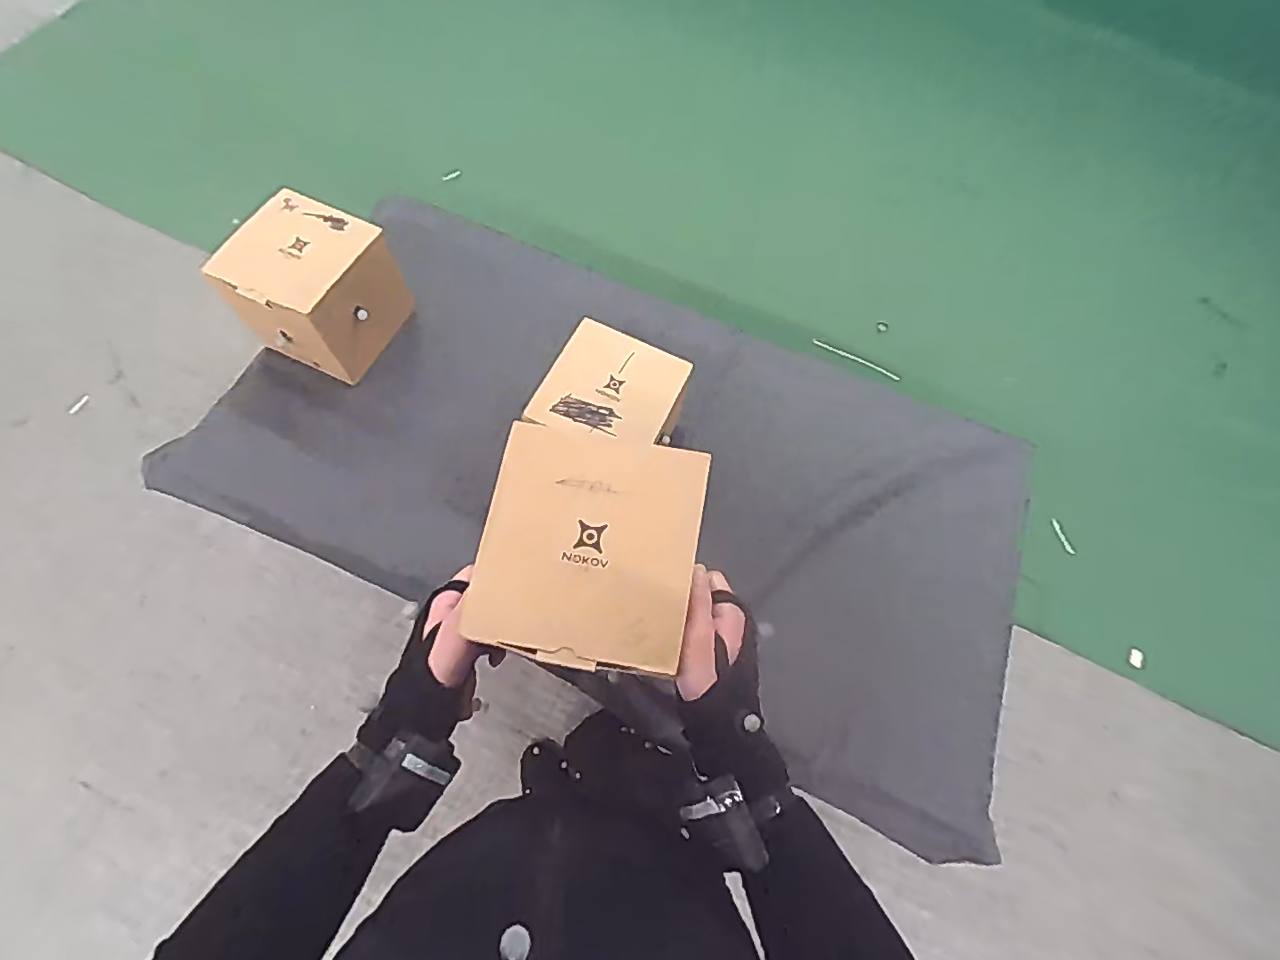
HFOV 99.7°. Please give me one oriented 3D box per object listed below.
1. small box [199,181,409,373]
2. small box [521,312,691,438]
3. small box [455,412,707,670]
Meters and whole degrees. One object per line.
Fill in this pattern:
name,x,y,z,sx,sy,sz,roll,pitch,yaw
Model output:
small box,-0.475,-0.290,0.802,0.168,0.176,0.179,24,69,3
small box,-0.045,-0.093,0.764,0.168,0.176,0.179,25,68,5
small box,-0.042,0.063,0.487,0.168,0.176,0.179,10,73,1
